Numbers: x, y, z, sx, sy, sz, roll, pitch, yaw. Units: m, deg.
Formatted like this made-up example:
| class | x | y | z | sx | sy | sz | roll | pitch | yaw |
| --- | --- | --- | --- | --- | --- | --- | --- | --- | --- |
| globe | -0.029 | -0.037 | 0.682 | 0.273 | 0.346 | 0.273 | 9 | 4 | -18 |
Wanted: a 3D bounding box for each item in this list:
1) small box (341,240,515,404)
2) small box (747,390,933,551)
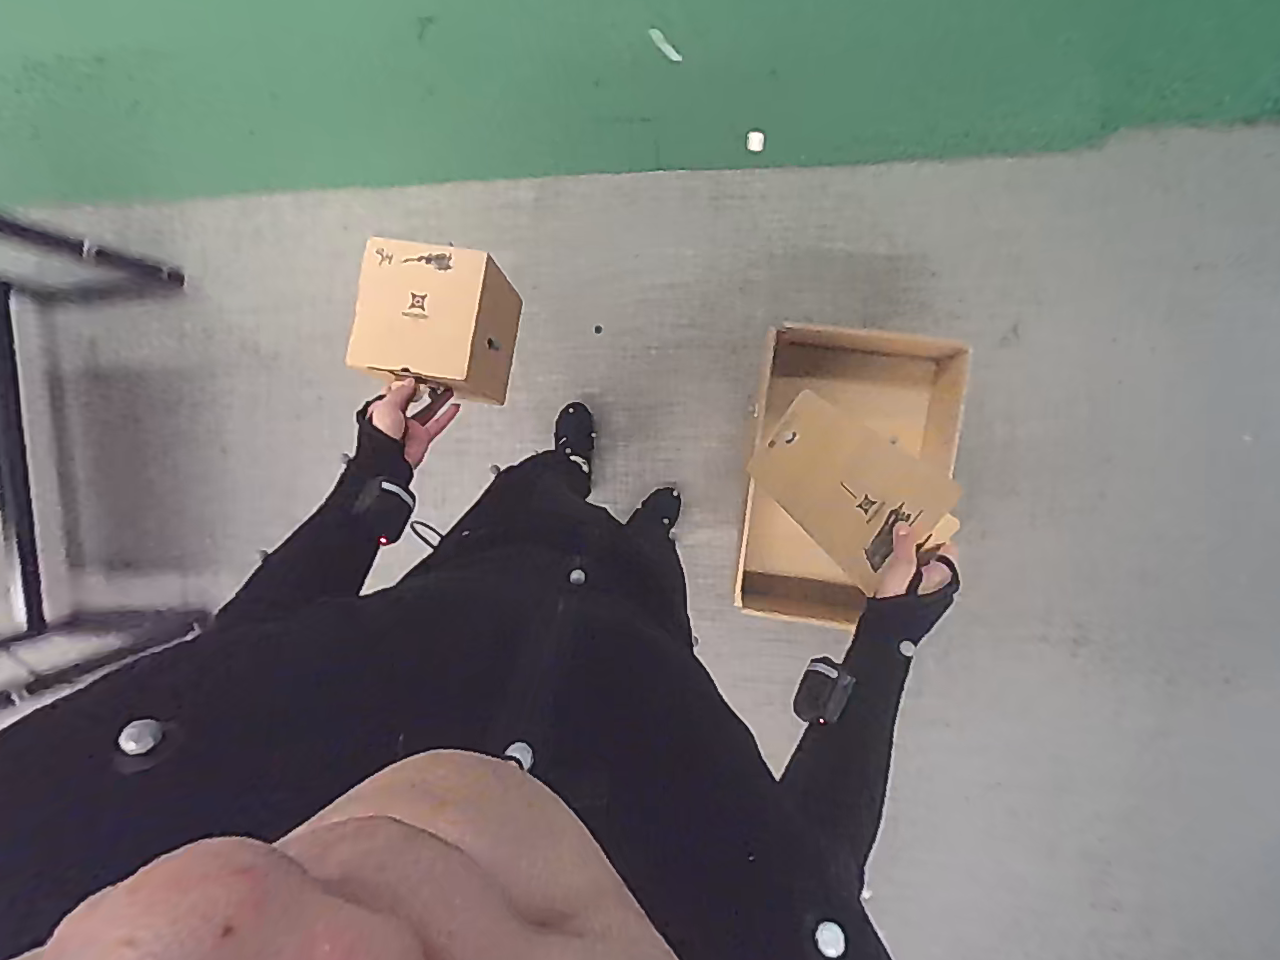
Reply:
| class | x | y | z | sx | sy | sz | roll | pitch | yaw |
| --- | --- | --- | --- | --- | --- | --- | --- | --- | --- |
| small box | -0.292 | -0.214 | 0.778 | 0.168 | 0.176 | 0.179 | 8 | 88 | 4 |
| small box | 0.305 | -0.020 | 0.854 | 0.179 | 0.176 | 0.168 | 24 | 109 | -28 |
